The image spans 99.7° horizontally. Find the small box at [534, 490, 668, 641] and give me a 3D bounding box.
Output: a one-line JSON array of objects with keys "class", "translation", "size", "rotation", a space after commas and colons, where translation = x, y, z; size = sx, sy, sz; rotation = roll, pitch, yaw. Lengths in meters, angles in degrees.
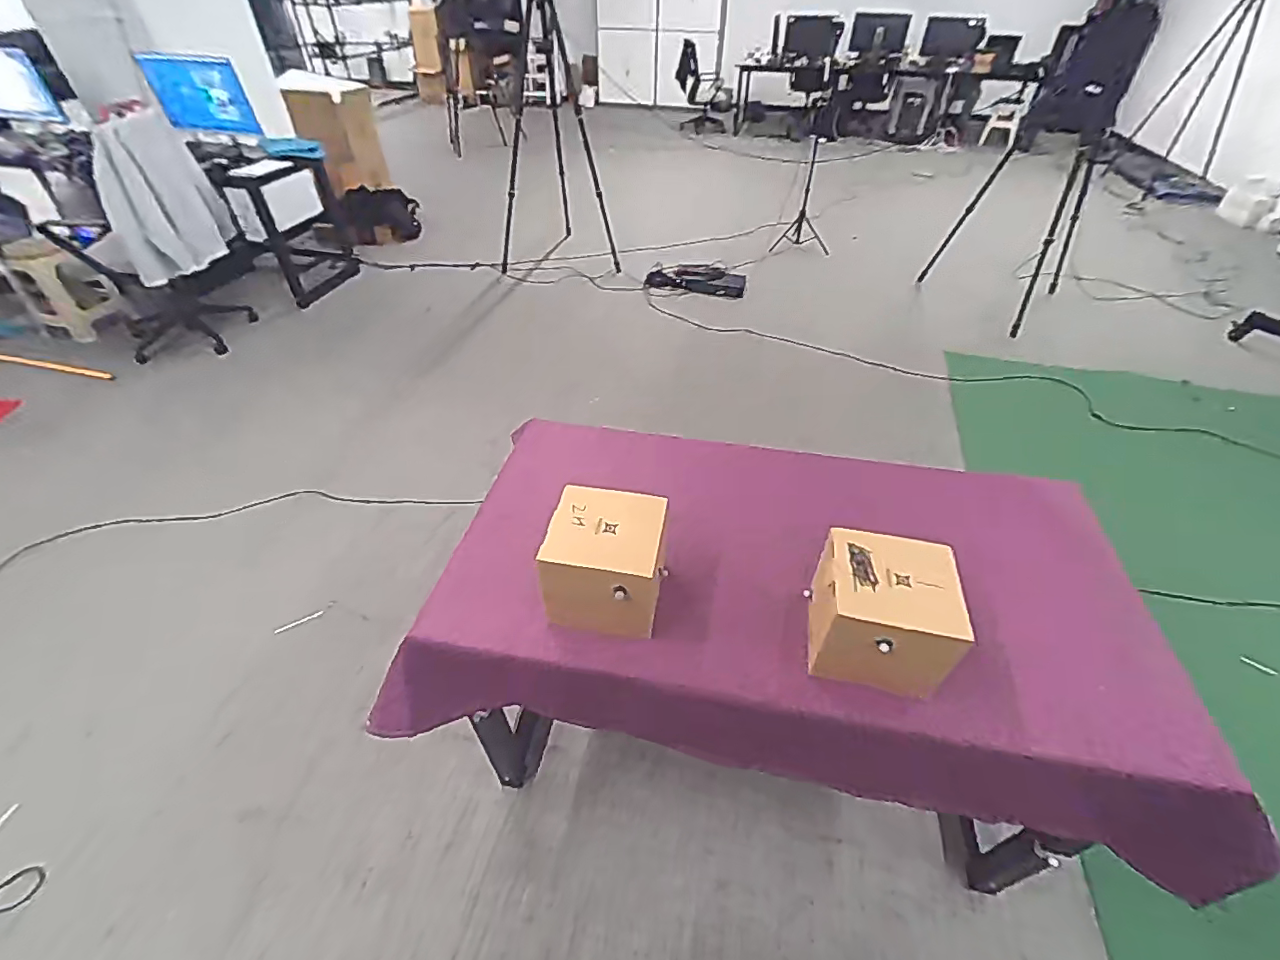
[{"class": "small box", "translation": [-0.056, 0.142, 0.887], "size": [0.179, 0.176, 0.168], "rotation": [8, 42, 8]}]

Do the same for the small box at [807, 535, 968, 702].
[{"class": "small box", "translation": [0.356, 0.211, 0.818], "size": [0.179, 0.176, 0.168], "rotation": [10, 43, 9]}]
